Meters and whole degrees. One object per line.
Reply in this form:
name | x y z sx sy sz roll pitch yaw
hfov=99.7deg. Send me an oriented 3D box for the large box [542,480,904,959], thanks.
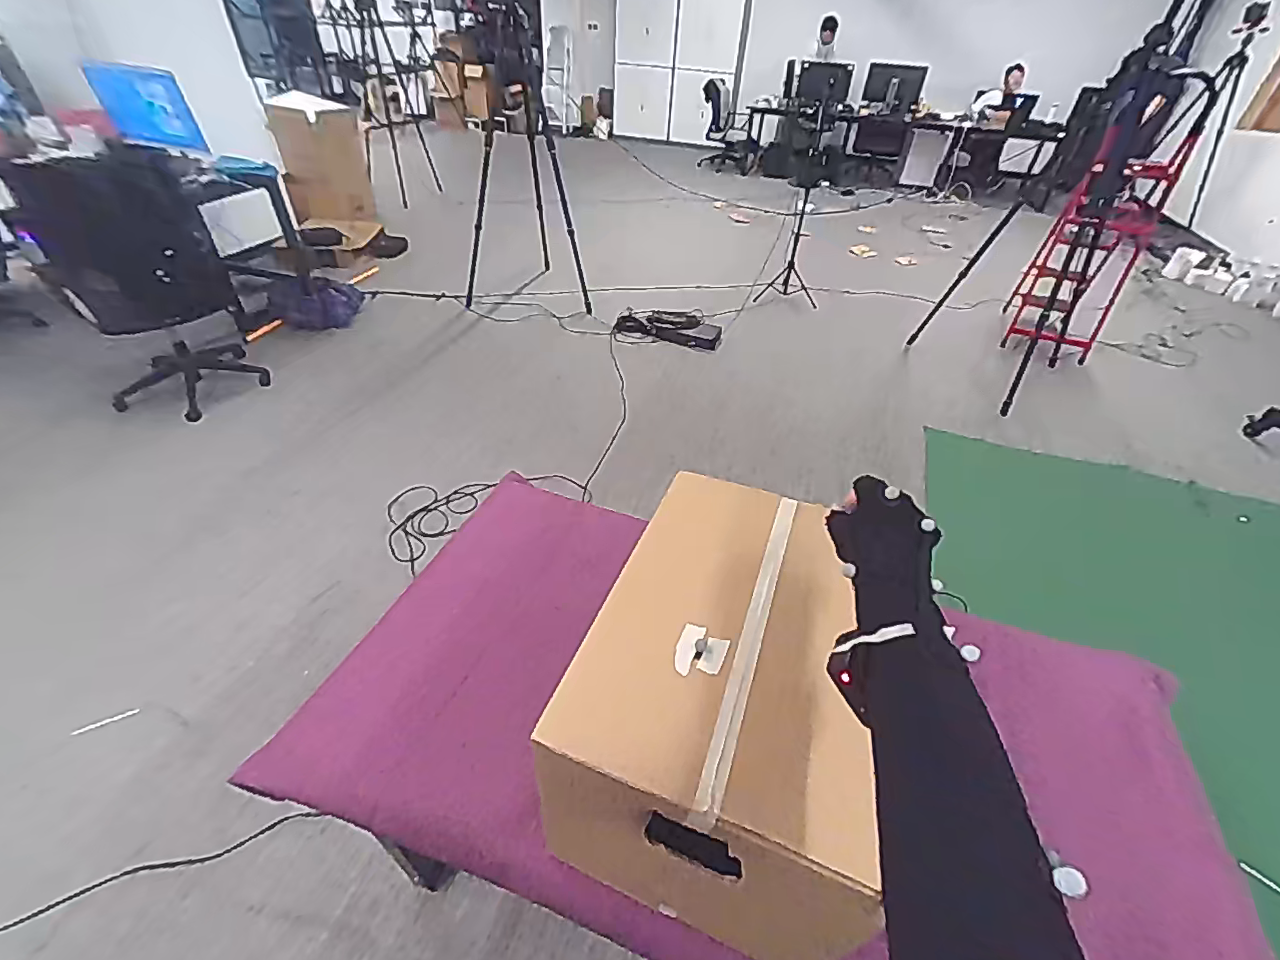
large box | 0.113 0.271 0.679 0.320 0.320 0.408 17 42 15
